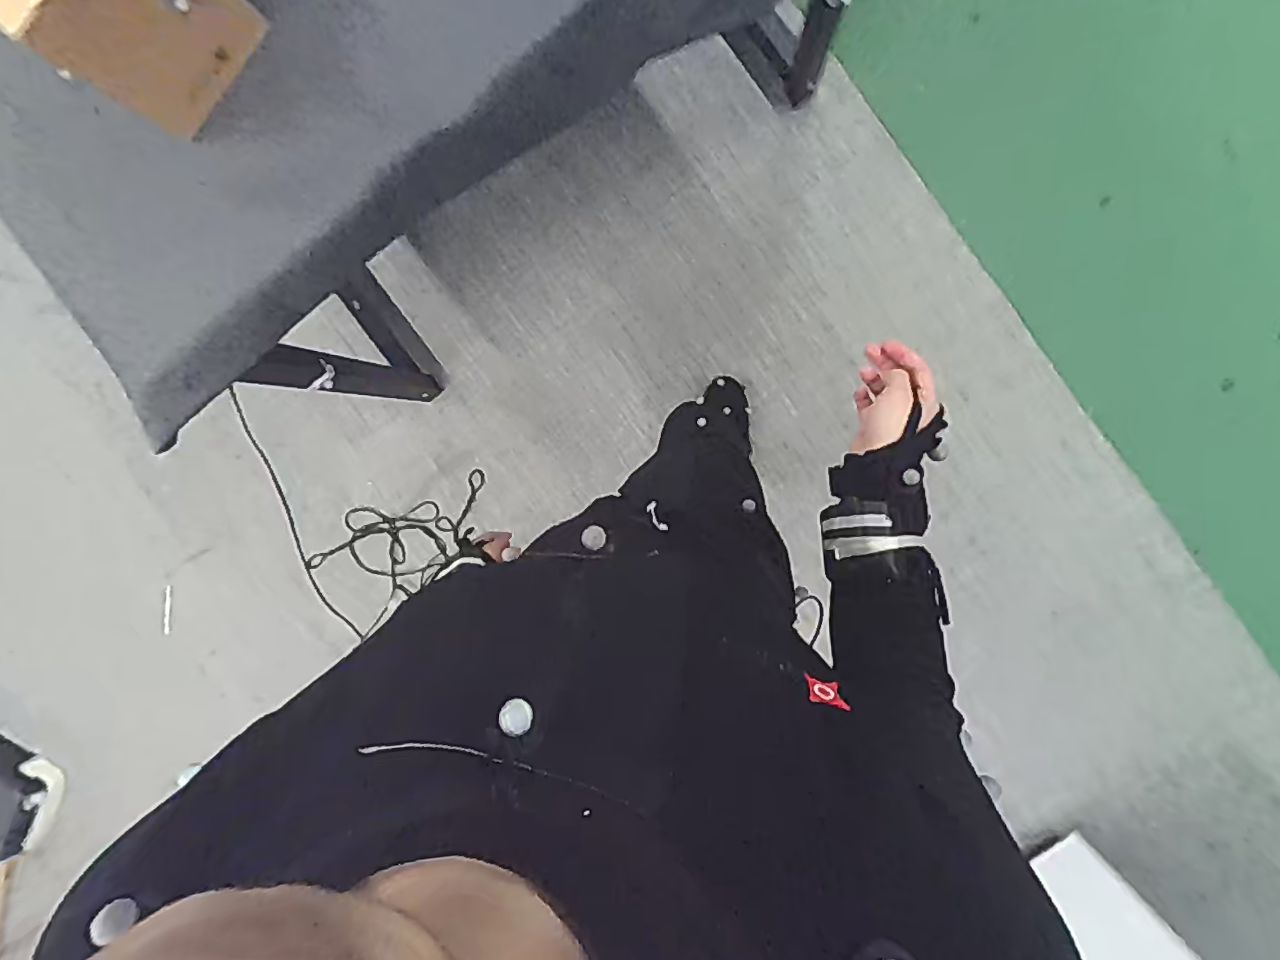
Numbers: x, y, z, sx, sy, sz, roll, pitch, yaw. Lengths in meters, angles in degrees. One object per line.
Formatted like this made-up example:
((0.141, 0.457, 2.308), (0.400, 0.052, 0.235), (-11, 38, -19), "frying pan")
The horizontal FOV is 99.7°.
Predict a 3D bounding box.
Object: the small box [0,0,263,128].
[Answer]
((-0.539, -0.501, 0.542), (0.179, 0.176, 0.168), (42, 96, 2), "small box")
